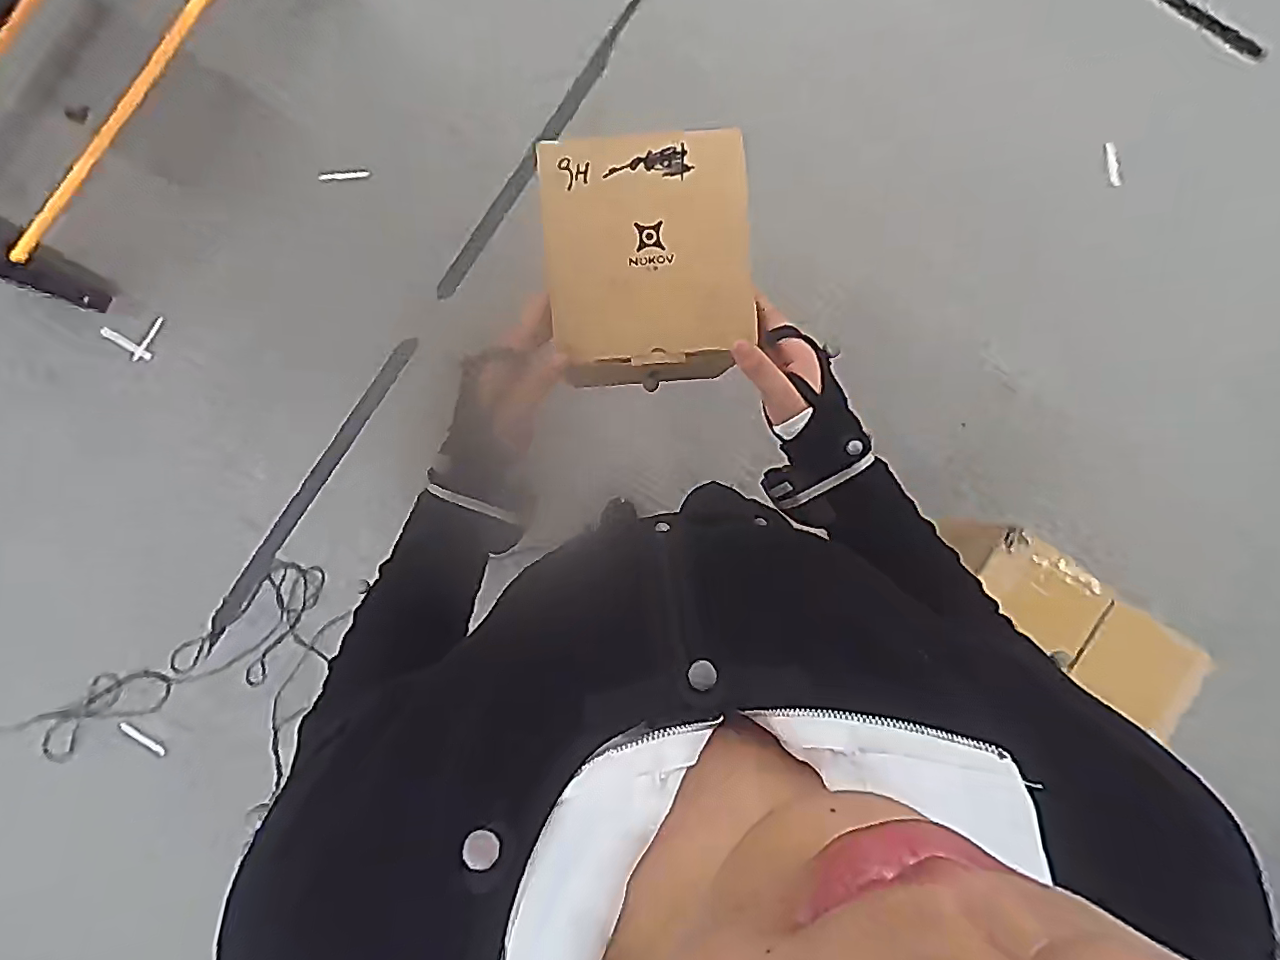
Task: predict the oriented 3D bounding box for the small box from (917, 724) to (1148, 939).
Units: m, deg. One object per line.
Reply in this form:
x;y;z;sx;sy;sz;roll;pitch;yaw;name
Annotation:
0.557;0.493;0.792;0.179;0.176;0.168;33;86;2;small box

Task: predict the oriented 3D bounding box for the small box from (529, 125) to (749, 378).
-0.001;-0.193;0.511;0.168;0.176;0.179;-6;94;-2;small box
